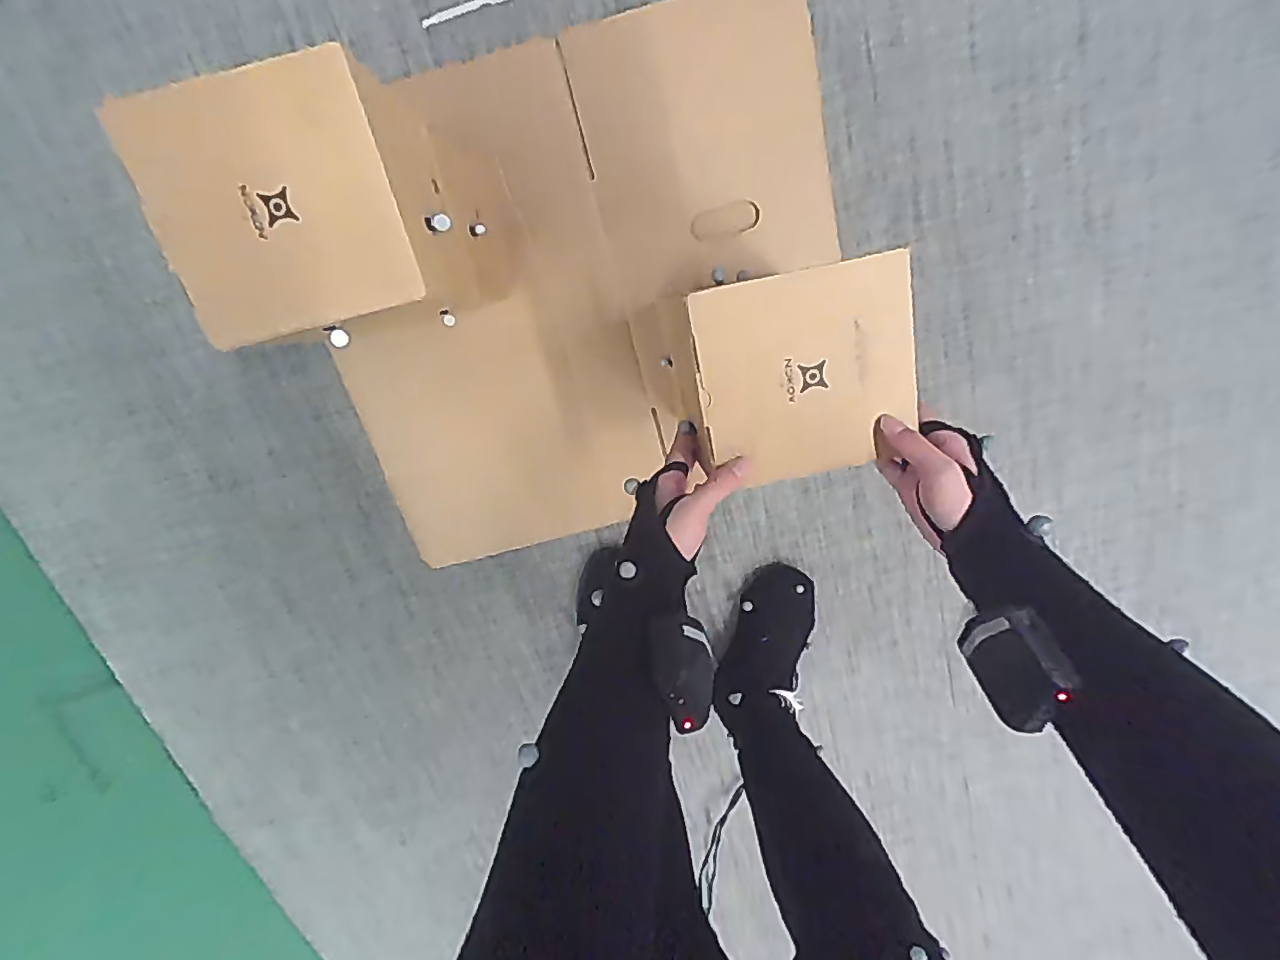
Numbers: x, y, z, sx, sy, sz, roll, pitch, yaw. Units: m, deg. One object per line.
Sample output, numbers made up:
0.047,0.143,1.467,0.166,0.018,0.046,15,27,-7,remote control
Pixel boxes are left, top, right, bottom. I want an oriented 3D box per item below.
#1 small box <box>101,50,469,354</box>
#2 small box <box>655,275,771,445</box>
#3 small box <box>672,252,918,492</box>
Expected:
-0.261,-0.215,0.457,0.179,0.176,0.168,-13,109,3,small box
0.123,-0.154,0.665,0.179,0.176,0.168,-12,108,2,small box
0.129,-0.103,0.505,0.179,0.176,0.168,-11,108,-1,small box
